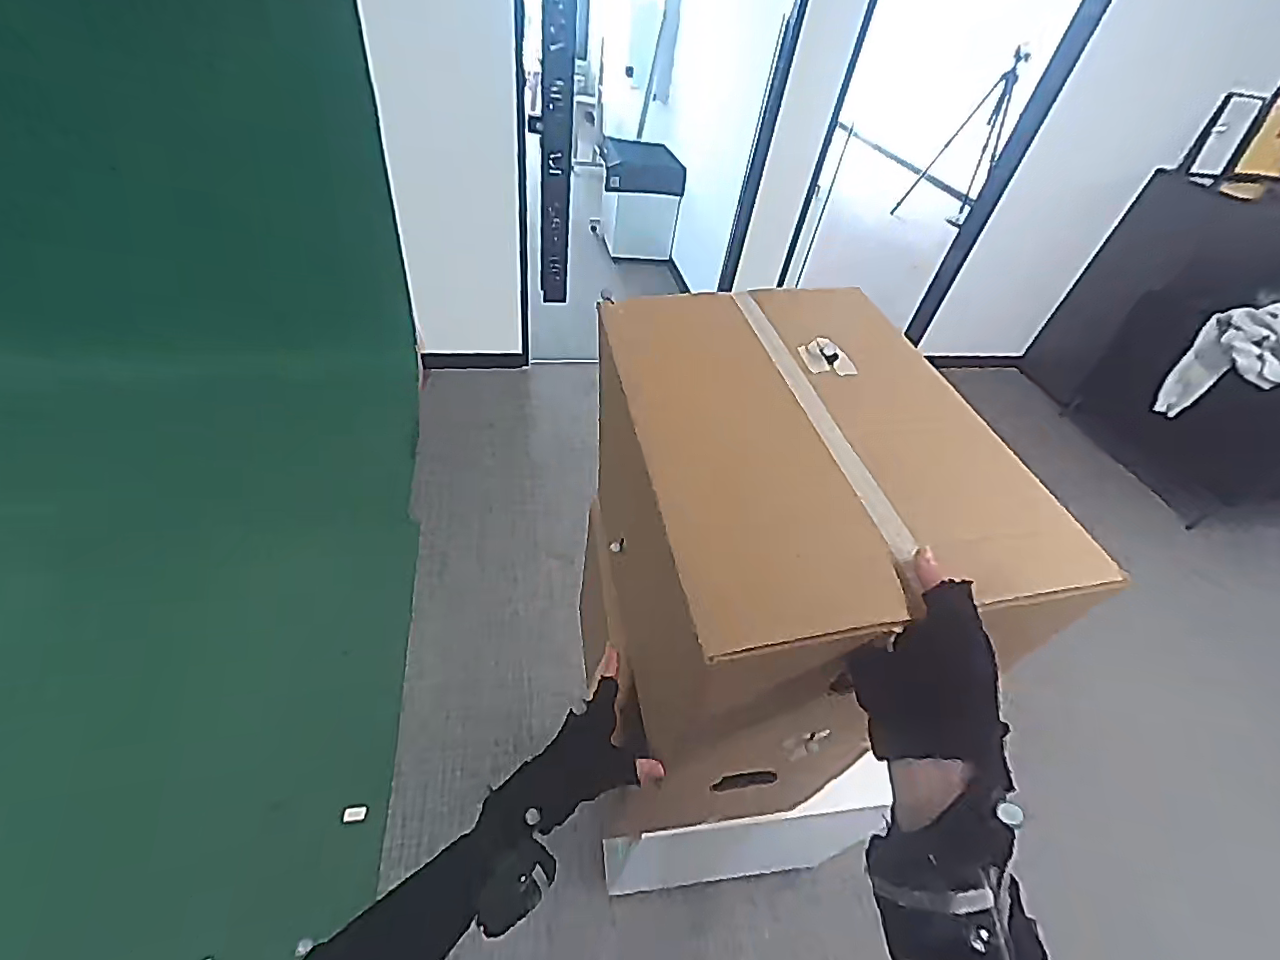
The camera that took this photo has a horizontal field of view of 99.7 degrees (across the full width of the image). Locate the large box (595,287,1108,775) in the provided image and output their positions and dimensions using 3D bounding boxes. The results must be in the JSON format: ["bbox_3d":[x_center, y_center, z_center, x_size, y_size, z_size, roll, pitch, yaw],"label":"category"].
[{"bbox_3d":[0.138,0.038,0.591,0.320,0.320,0.408,-7,48,-10],"label":"large box"}]
